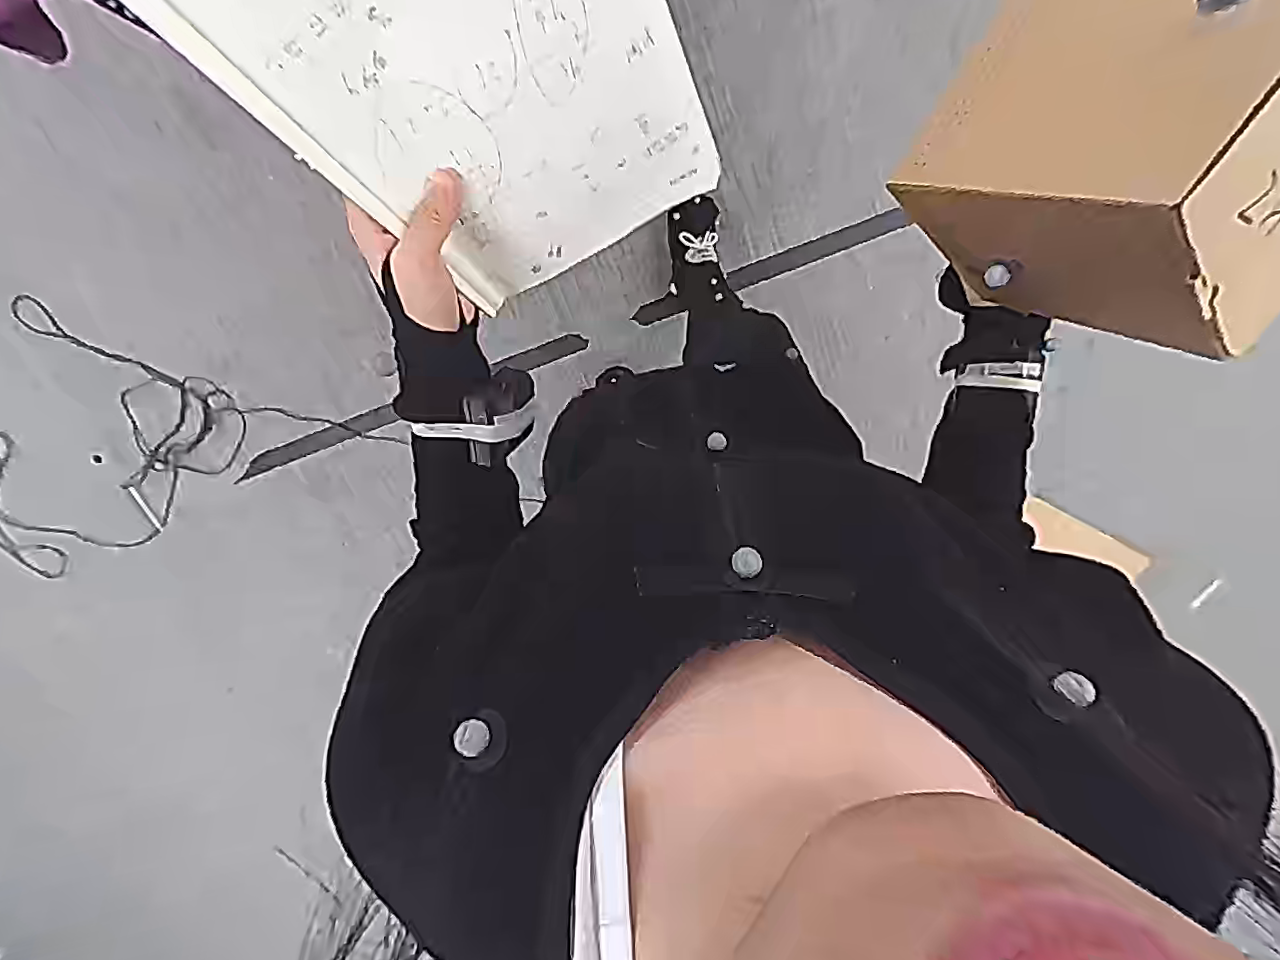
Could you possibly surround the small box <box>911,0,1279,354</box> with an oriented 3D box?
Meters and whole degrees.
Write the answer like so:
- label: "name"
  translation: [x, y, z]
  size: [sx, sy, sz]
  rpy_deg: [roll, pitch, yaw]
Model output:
- label: "small box"
  translation: [0.304, -0.207, 0.315]
  size: [0.168, 0.176, 0.179]
  rpy_deg: [20, 108, -35]
